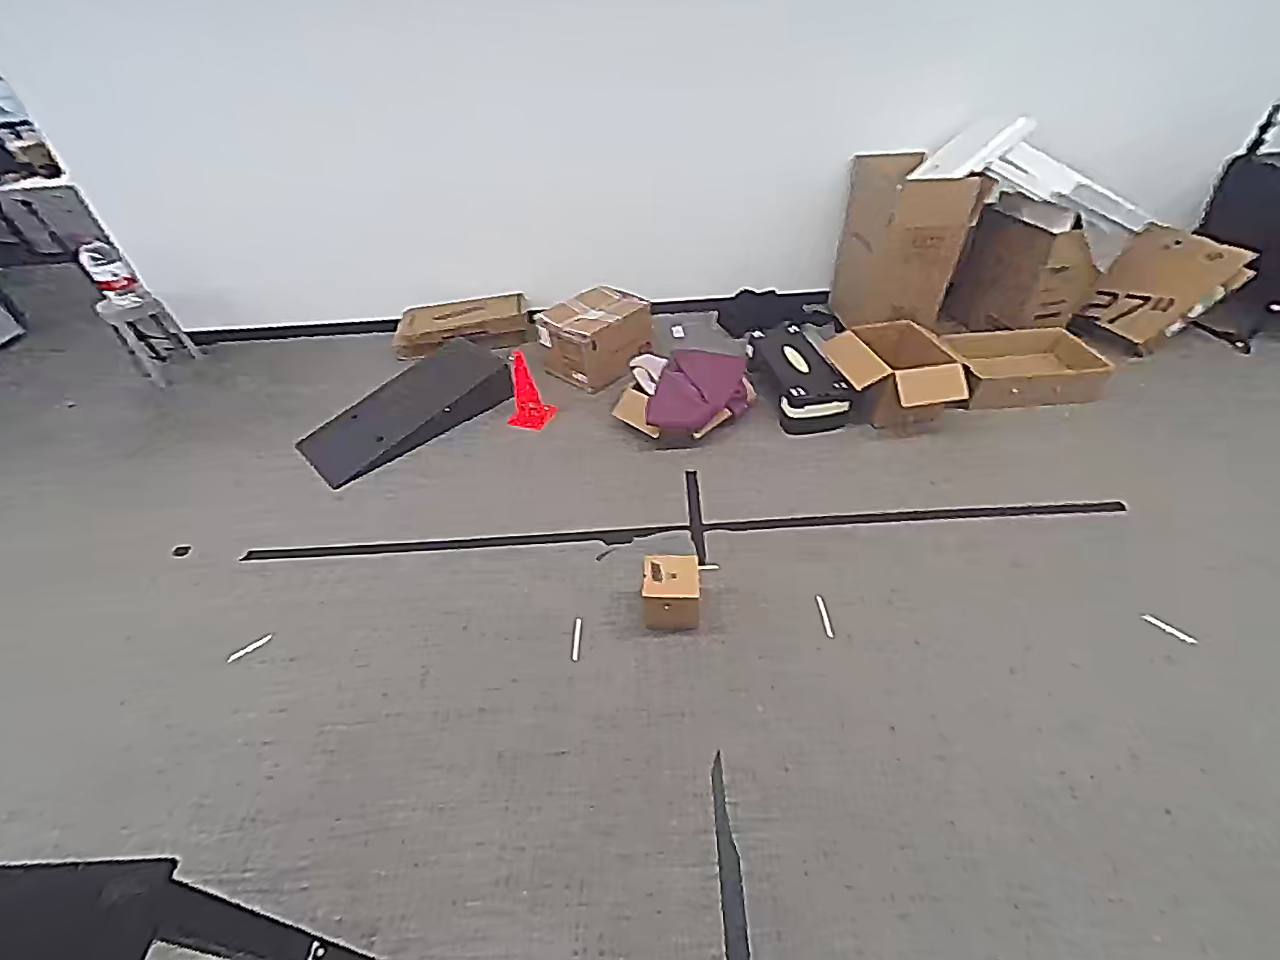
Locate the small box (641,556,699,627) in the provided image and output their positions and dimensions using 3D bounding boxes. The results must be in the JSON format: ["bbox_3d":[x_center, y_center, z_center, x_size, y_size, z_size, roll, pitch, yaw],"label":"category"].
[{"bbox_3d":[0.100,0.362,1.746,0.179,0.176,0.168,0,42,4],"label":"small box"}]
